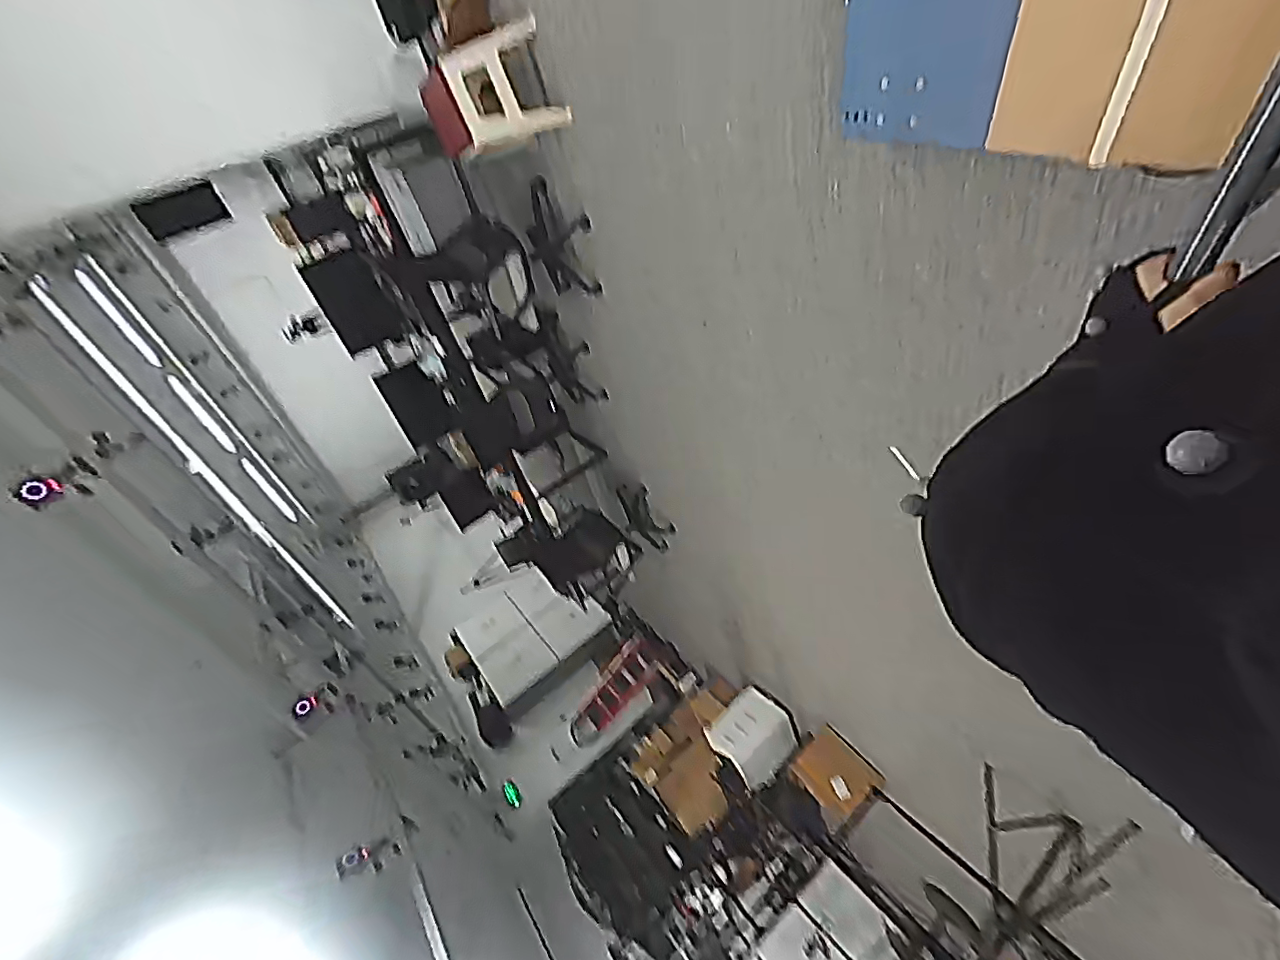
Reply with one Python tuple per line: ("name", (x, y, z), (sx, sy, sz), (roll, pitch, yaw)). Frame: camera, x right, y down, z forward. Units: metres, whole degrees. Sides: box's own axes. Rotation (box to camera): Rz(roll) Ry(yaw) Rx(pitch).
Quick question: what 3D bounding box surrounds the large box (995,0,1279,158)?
("large box", (0.728, -0.674, 0.671), (0.320, 0.320, 0.408), (36, 151, 39))
